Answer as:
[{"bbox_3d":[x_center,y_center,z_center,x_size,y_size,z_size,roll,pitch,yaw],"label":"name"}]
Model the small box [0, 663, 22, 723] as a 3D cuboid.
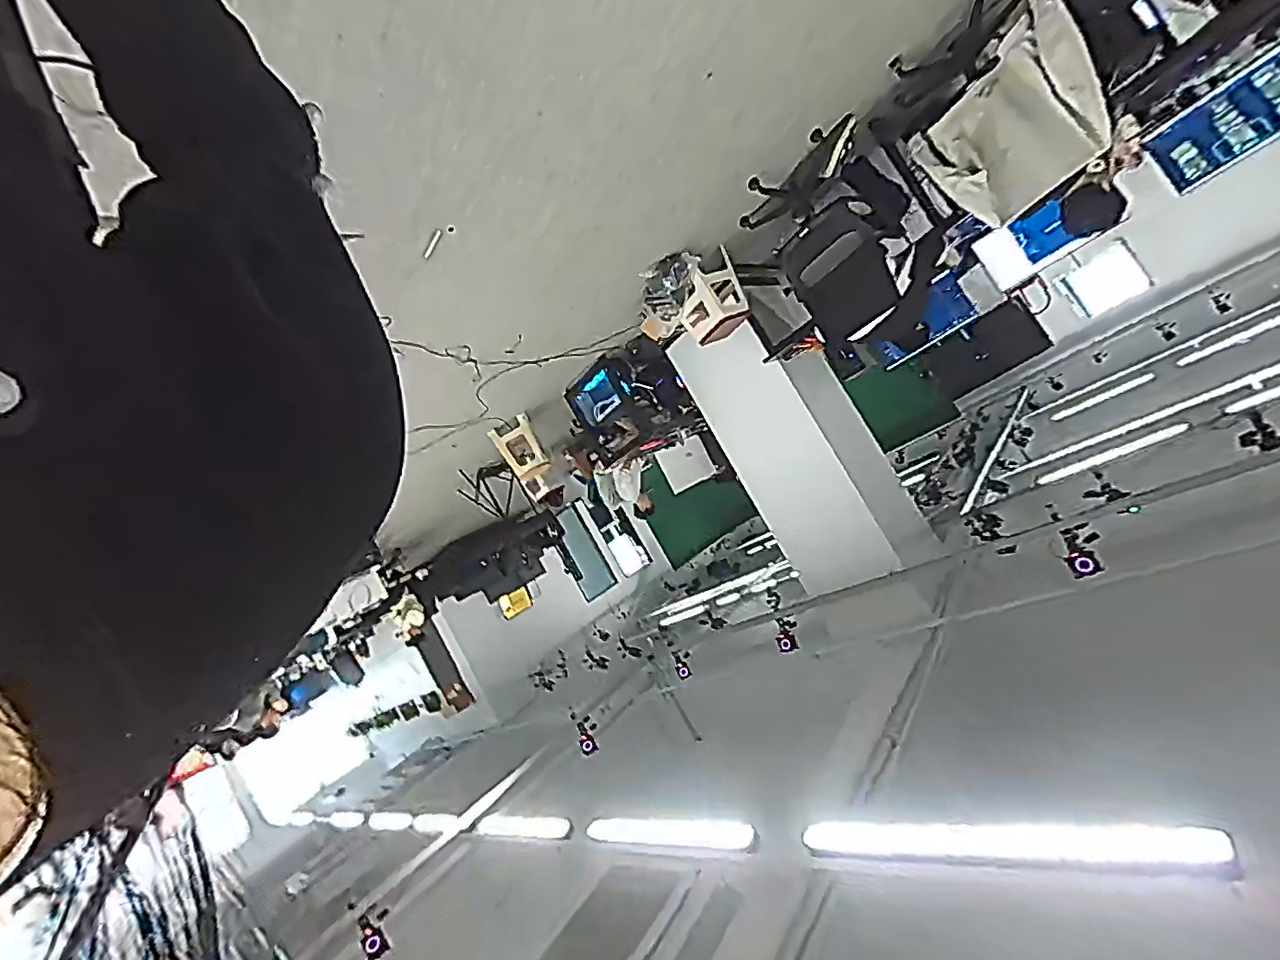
[{"bbox_3d":[-1.742,0.564,1.387,0.179,0.176,0.168,-33,176,39],"label":"small box"}]
